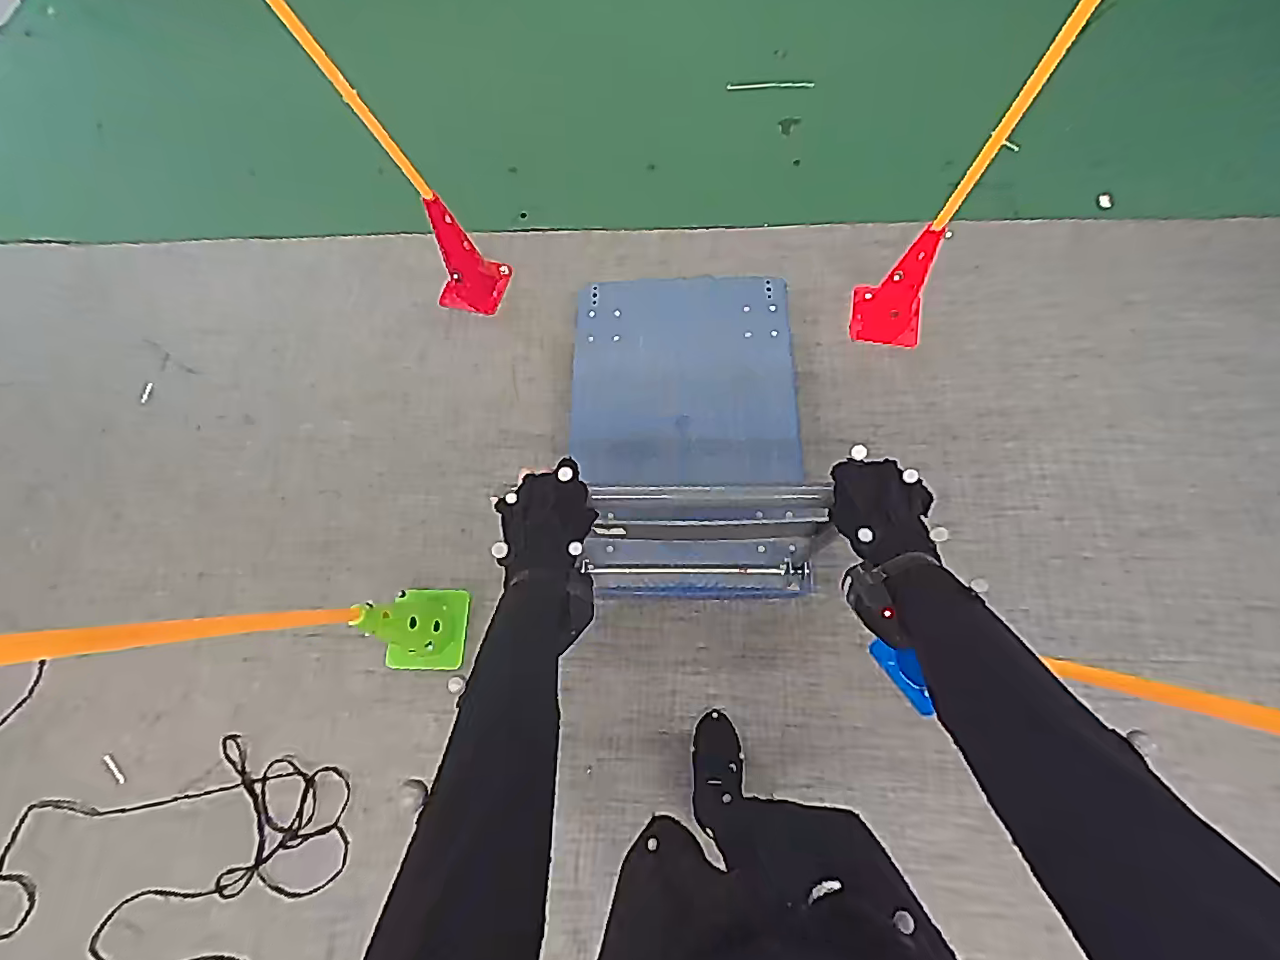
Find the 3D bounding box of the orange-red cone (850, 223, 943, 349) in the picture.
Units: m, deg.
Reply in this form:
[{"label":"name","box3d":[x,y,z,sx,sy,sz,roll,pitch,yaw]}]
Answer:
[{"label":"orange-red cone","box3d":[0.729,-0.546,1.472,0.198,0.360,0.199,11,72,8]}]
